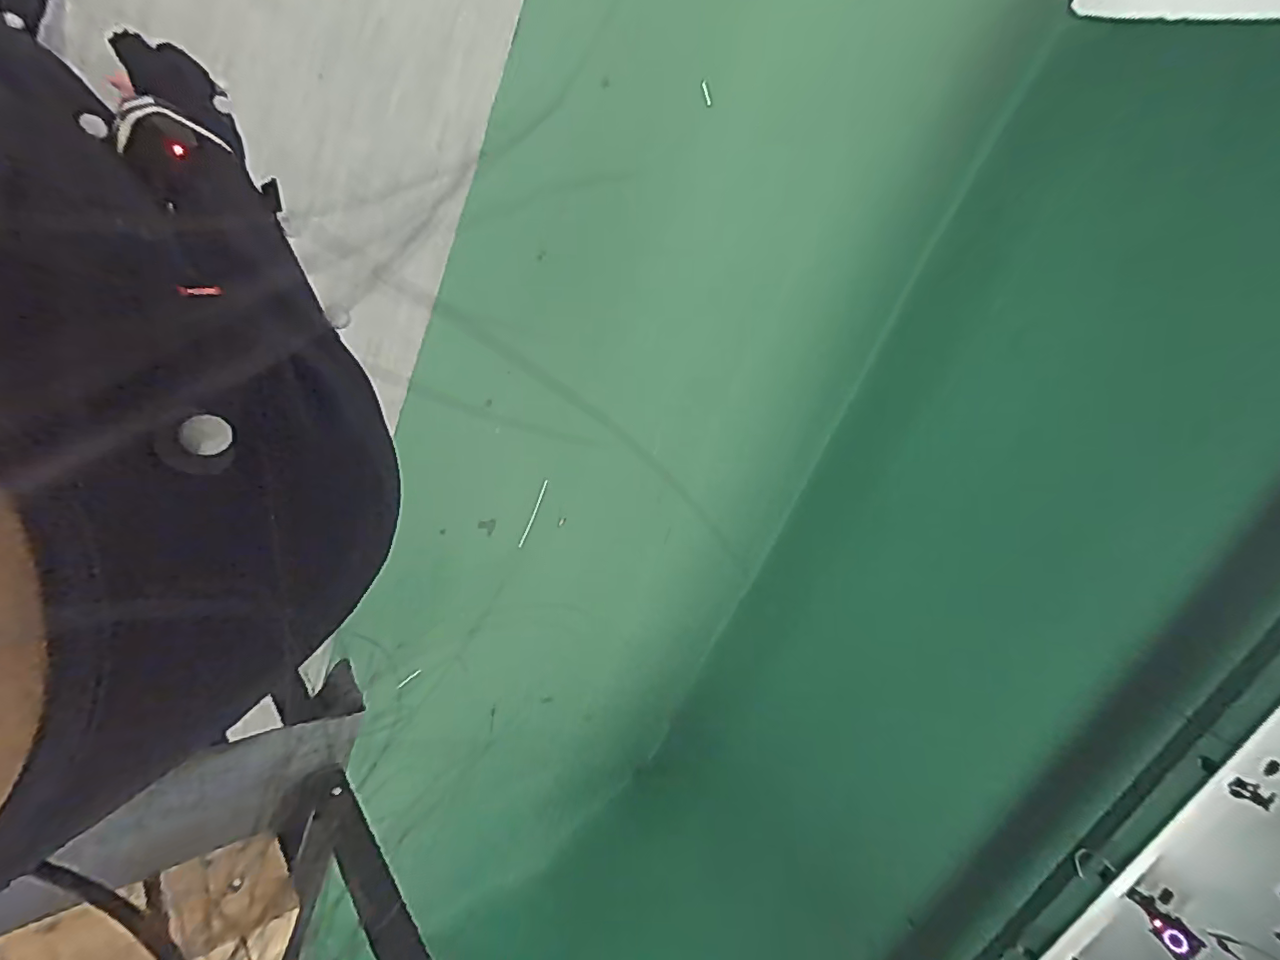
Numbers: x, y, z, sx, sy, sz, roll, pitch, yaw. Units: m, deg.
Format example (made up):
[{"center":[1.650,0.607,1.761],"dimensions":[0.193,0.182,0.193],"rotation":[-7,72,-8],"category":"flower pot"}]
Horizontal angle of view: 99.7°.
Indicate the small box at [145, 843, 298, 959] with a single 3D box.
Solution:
[{"center":[-0.728,0.775,0.936],"dimensions":[0.168,0.176,0.179],"rotation":[7,114,-51],"category":"small box"}]
